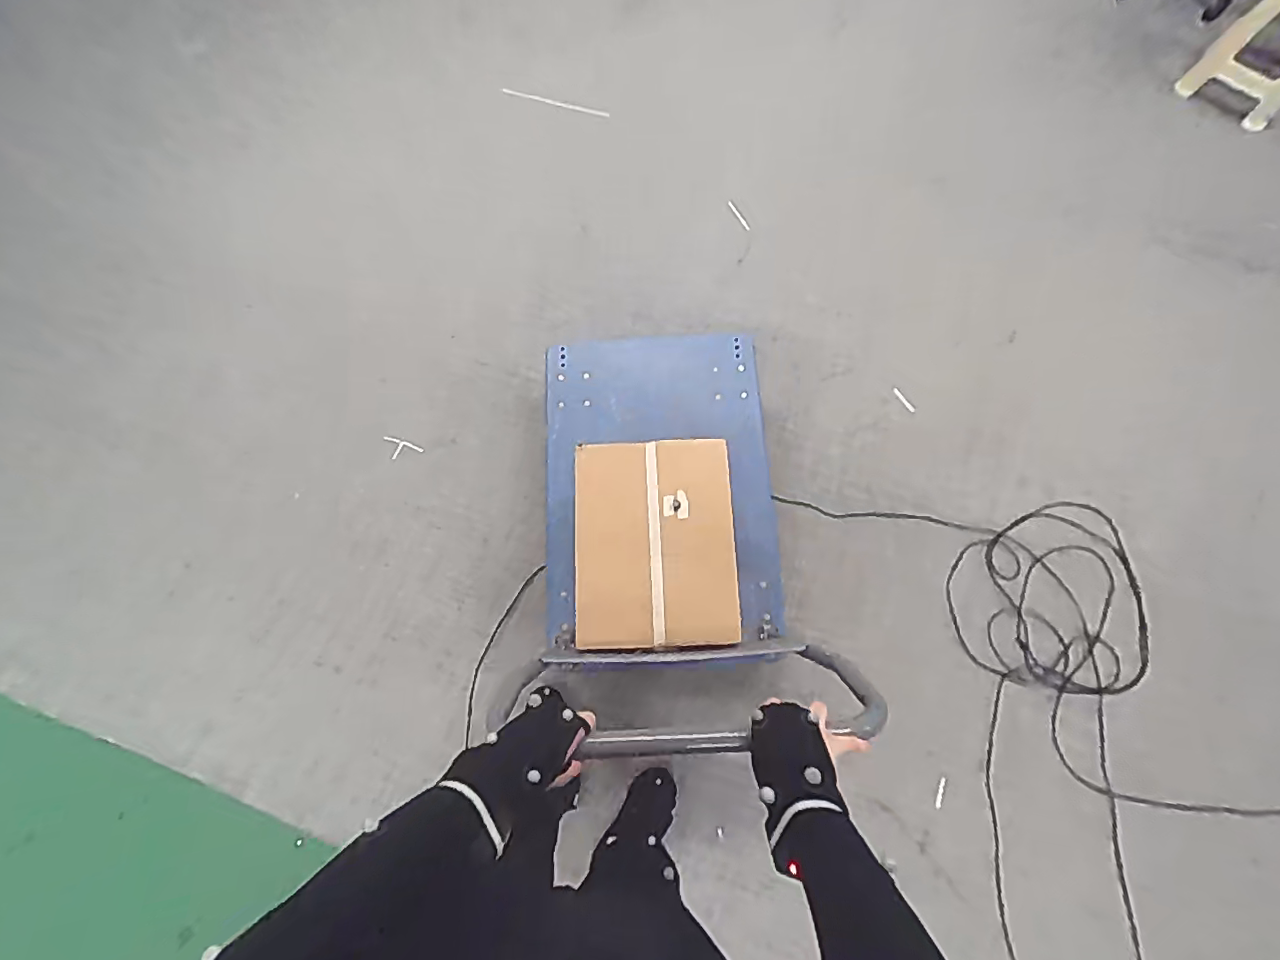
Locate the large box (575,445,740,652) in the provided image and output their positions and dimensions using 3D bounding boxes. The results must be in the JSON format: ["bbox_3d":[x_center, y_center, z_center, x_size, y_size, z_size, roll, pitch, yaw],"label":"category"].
[{"bbox_3d":[0.032,0.168,1.223,0.320,0.320,0.408,-3,74,0],"label":"large box"}]
